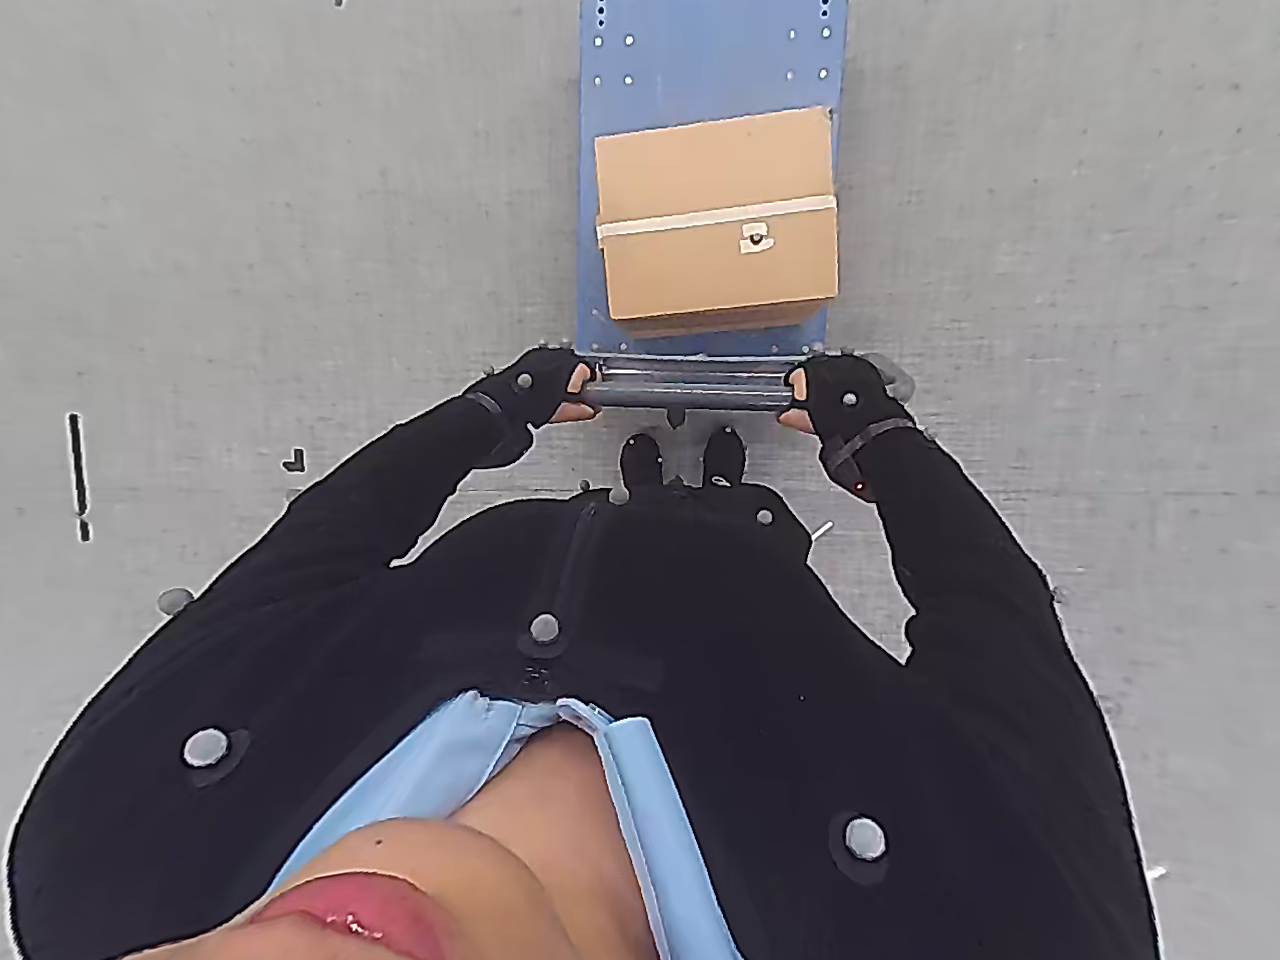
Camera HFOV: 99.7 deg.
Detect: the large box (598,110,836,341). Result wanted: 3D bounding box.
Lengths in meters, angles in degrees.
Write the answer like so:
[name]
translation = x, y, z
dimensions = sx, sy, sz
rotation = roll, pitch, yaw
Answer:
[large box]
translation = 0.146, -0.481, 1.104
dimensions = 0.408, 0.320, 0.320
rotation = -5, 98, 5
